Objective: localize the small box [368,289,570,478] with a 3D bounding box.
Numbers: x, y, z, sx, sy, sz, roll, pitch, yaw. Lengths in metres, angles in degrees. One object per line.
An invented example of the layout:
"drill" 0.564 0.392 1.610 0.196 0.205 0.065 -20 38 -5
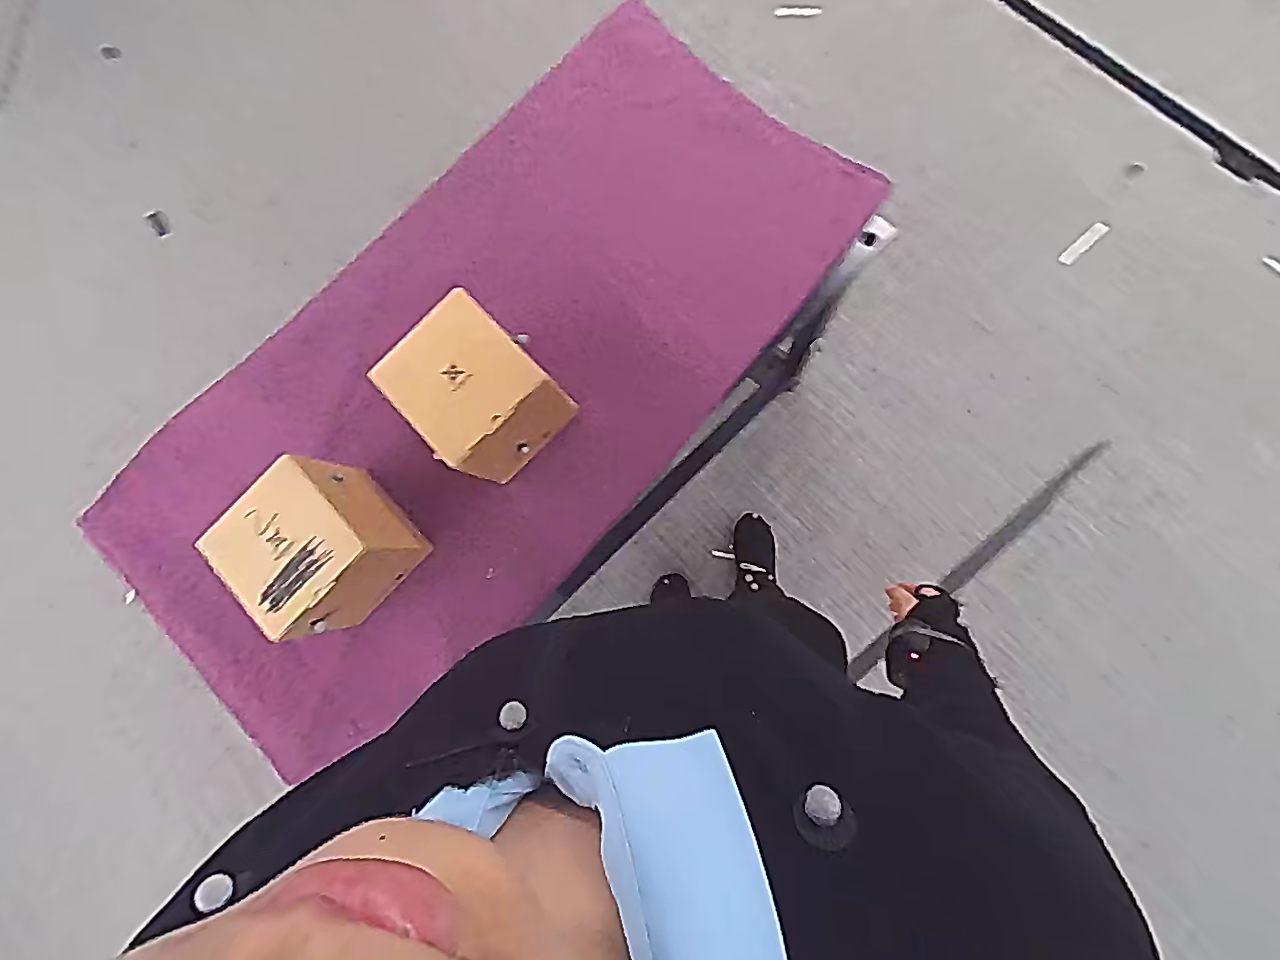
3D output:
"small box" -0.226 -0.121 0.757 0.168 0.176 0.179 -45 80 0
